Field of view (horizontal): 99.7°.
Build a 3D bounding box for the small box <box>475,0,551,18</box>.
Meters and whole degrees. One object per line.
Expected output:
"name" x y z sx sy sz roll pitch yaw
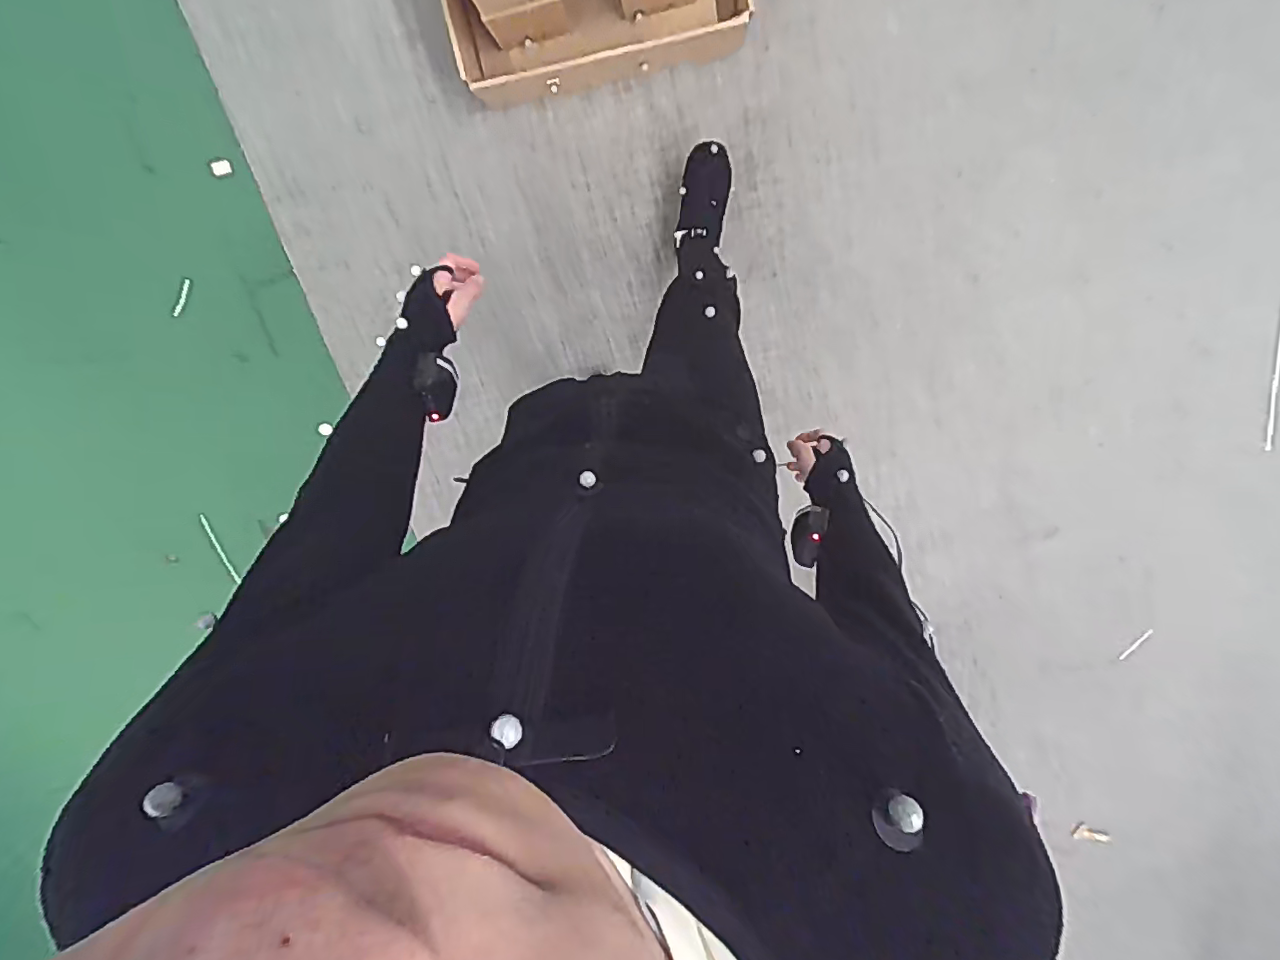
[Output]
"small box" -0.252 -0.977 0.954 0.168 0.176 0.179 -11 108 7
